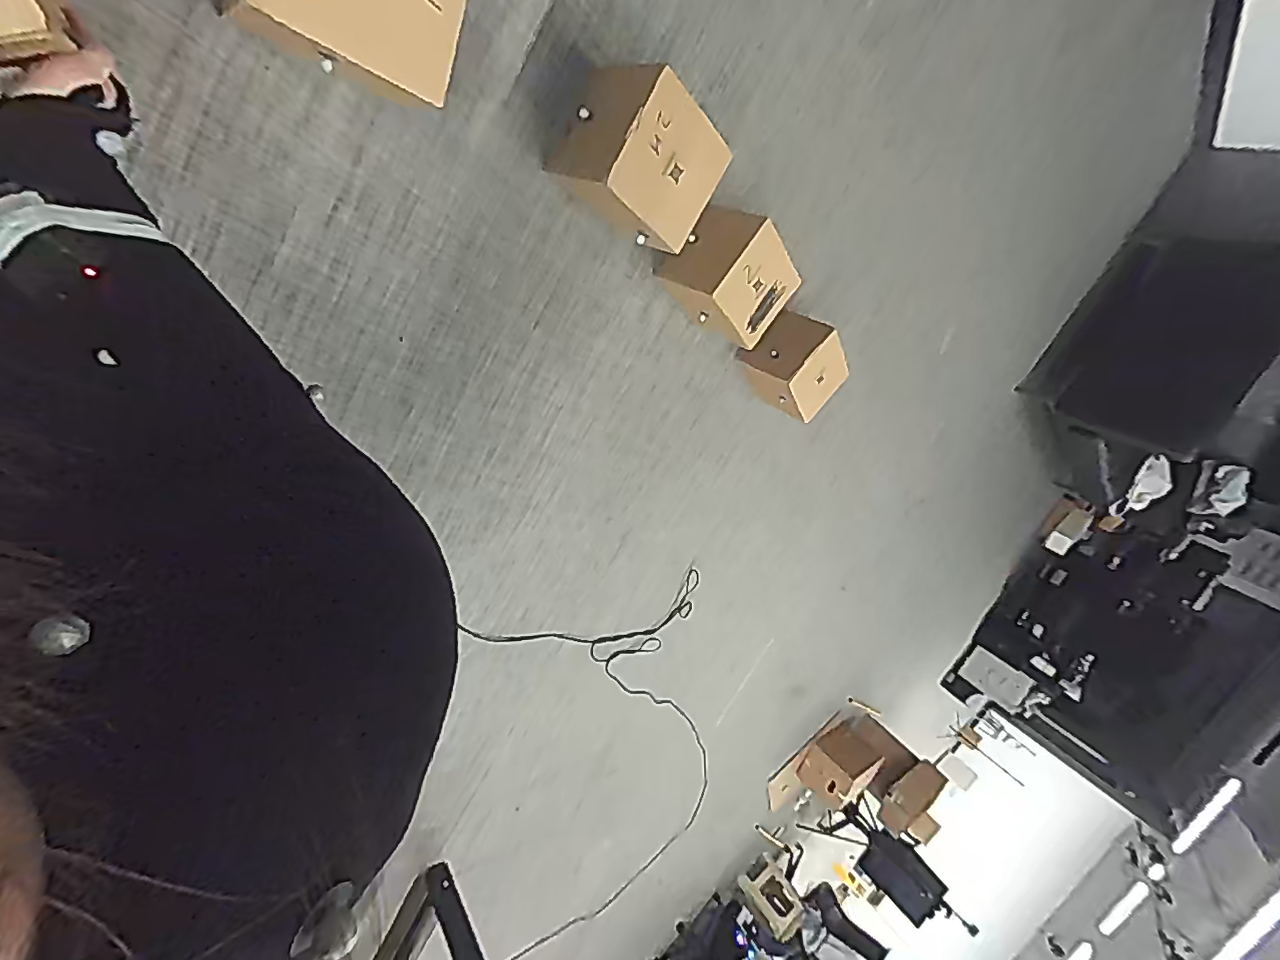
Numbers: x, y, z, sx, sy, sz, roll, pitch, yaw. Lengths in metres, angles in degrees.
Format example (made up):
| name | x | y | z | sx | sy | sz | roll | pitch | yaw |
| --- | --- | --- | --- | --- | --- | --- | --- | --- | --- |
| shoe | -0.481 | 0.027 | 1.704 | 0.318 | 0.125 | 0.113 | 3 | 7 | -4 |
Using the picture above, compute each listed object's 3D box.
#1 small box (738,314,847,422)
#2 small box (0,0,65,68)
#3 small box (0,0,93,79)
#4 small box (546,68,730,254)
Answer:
| name | x | y | z | sx | sy | sz | roll | pitch | yaw |
| --- | --- | --- | --- | --- | --- | --- | --- | --- | --- |
| small box | 0.363 | -0.274 | 1.294 | 0.168 | 0.176 | 0.179 | -48 | 140 | -2 |
| small box | -0.437 | -0.298 | 0.256 | 0.168 | 0.176 | 0.179 | -30 | 135 | -23 |
| small box | -0.533 | -0.374 | 0.365 | 0.179 | 0.176 | 0.168 | -29 | 133 | -23 |
| small box | -0.005 | -0.475 | 0.811 | 0.179 | 0.176 | 0.168 | 21 | 103 | -48 |
